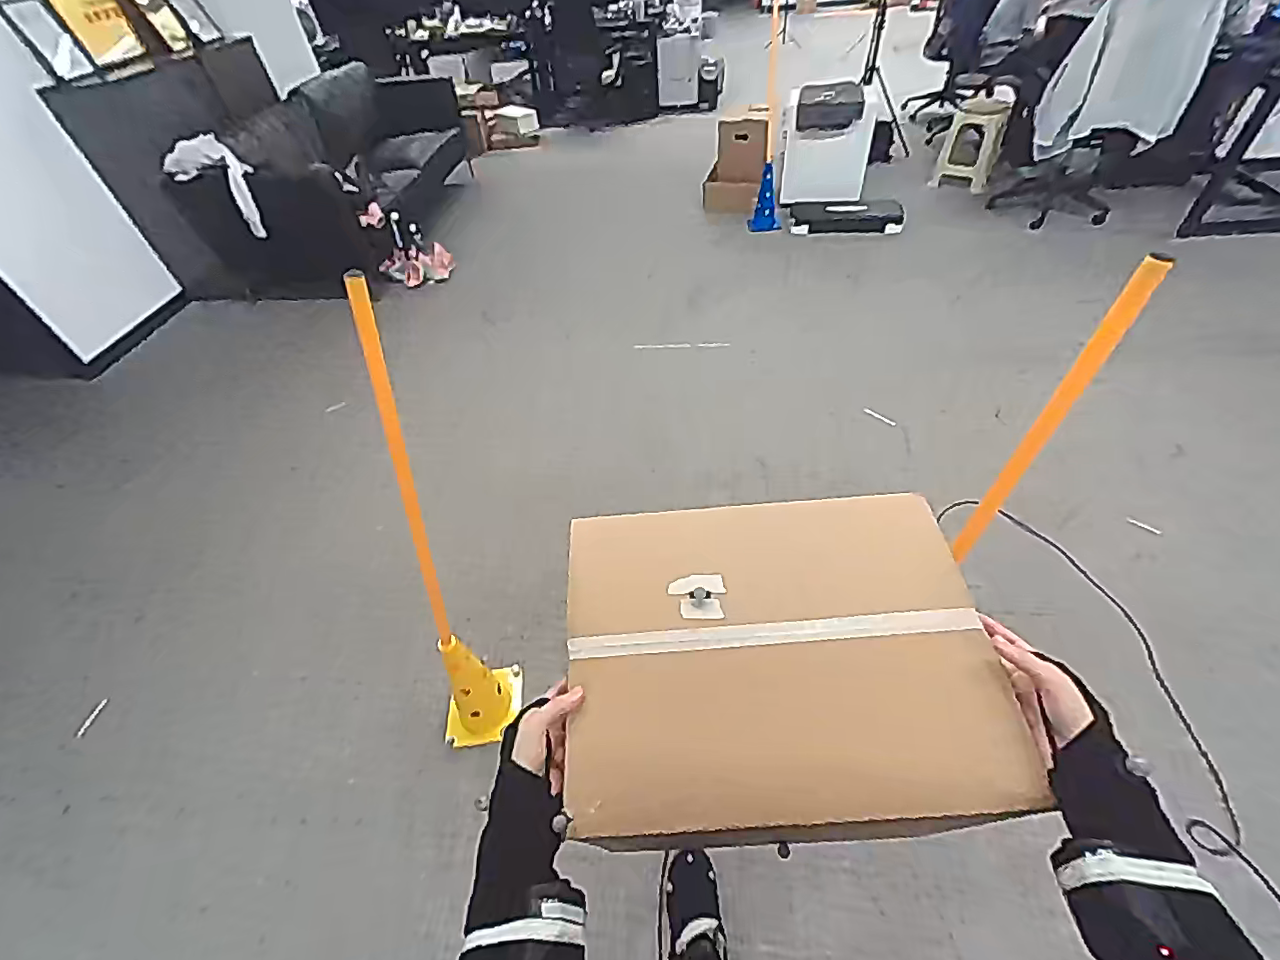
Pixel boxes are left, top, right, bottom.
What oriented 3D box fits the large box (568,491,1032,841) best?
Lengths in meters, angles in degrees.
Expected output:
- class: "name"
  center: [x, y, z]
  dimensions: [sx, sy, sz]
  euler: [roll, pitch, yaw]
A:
- class: "large box"
  center: [0.140, 0.242, 0.665]
  dimensions: [0.408, 0.320, 0.320]
  euler: [-5, 53, 2]
